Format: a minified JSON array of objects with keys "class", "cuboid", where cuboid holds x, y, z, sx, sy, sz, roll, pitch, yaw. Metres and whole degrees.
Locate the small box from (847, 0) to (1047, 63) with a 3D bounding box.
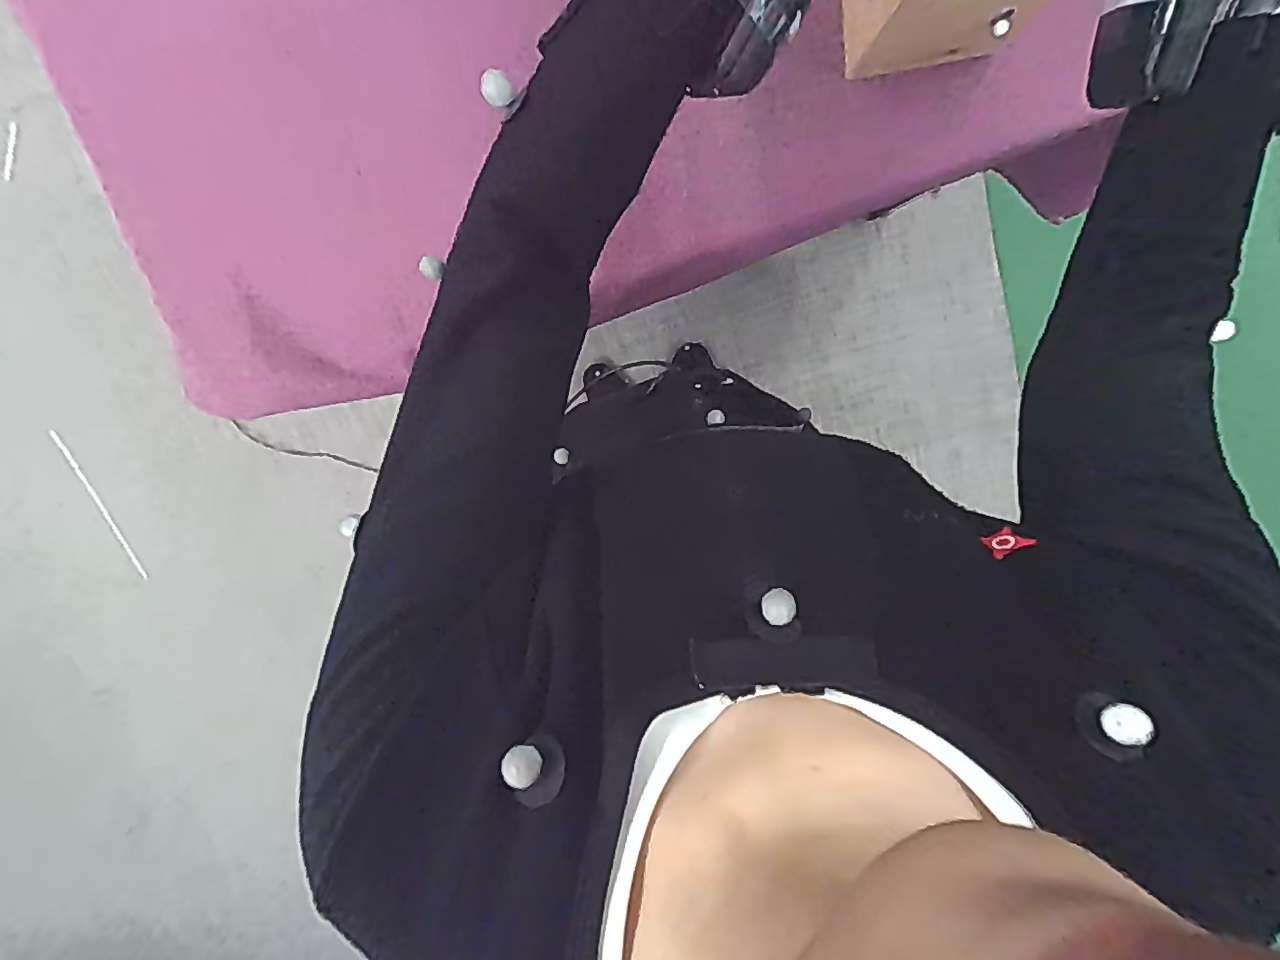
[{"class":"small box","cuboid":[0.299,-0.522,0.497,0.168,0.176,0.179,-7,105,4]}]
